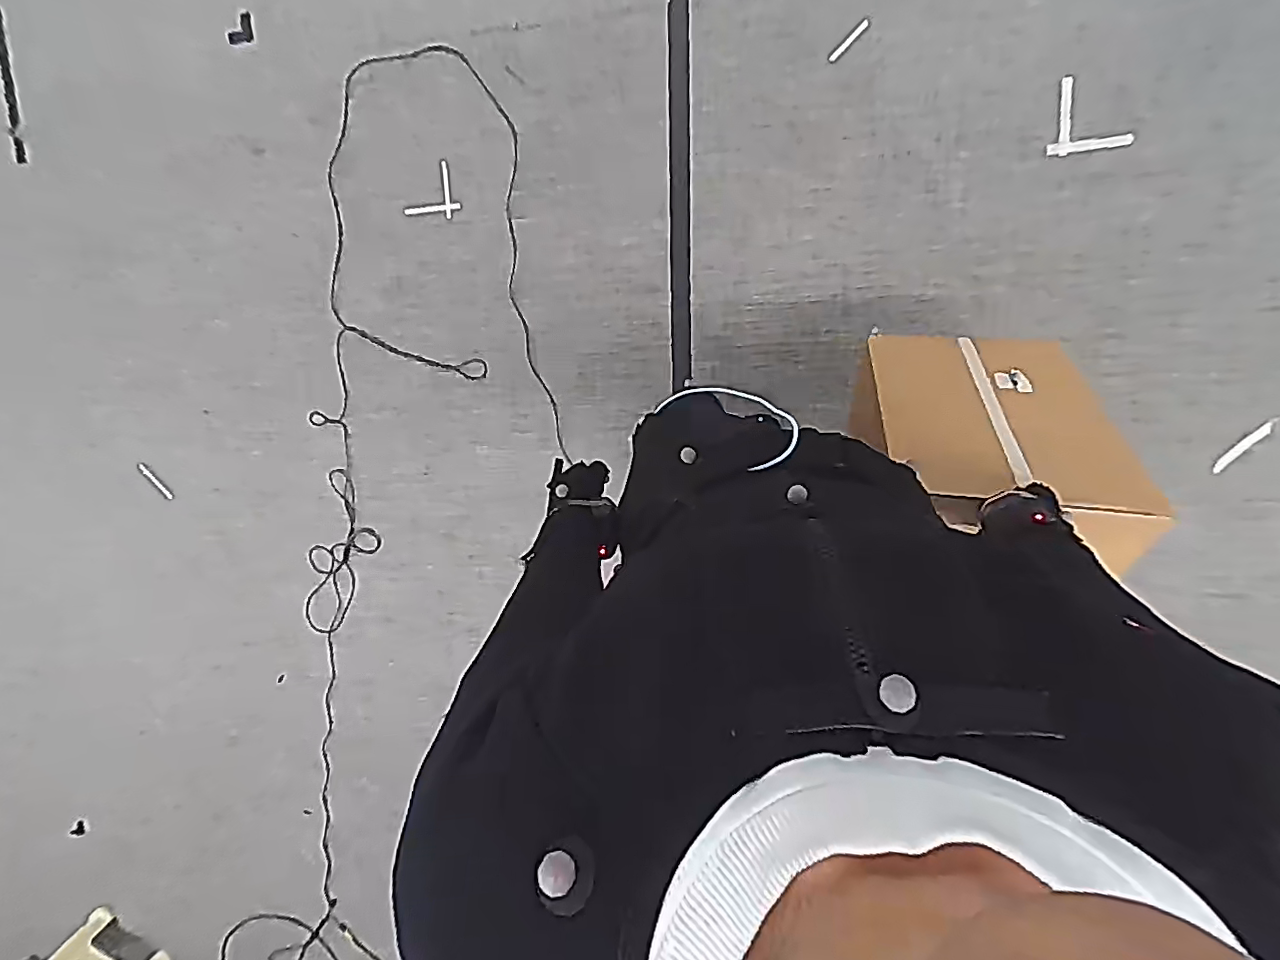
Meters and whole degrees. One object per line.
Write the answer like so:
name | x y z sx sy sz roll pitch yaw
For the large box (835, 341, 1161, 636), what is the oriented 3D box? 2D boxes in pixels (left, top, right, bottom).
large box | 0.533 0.003 0.924 0.320 0.408 0.320 5 134 9
